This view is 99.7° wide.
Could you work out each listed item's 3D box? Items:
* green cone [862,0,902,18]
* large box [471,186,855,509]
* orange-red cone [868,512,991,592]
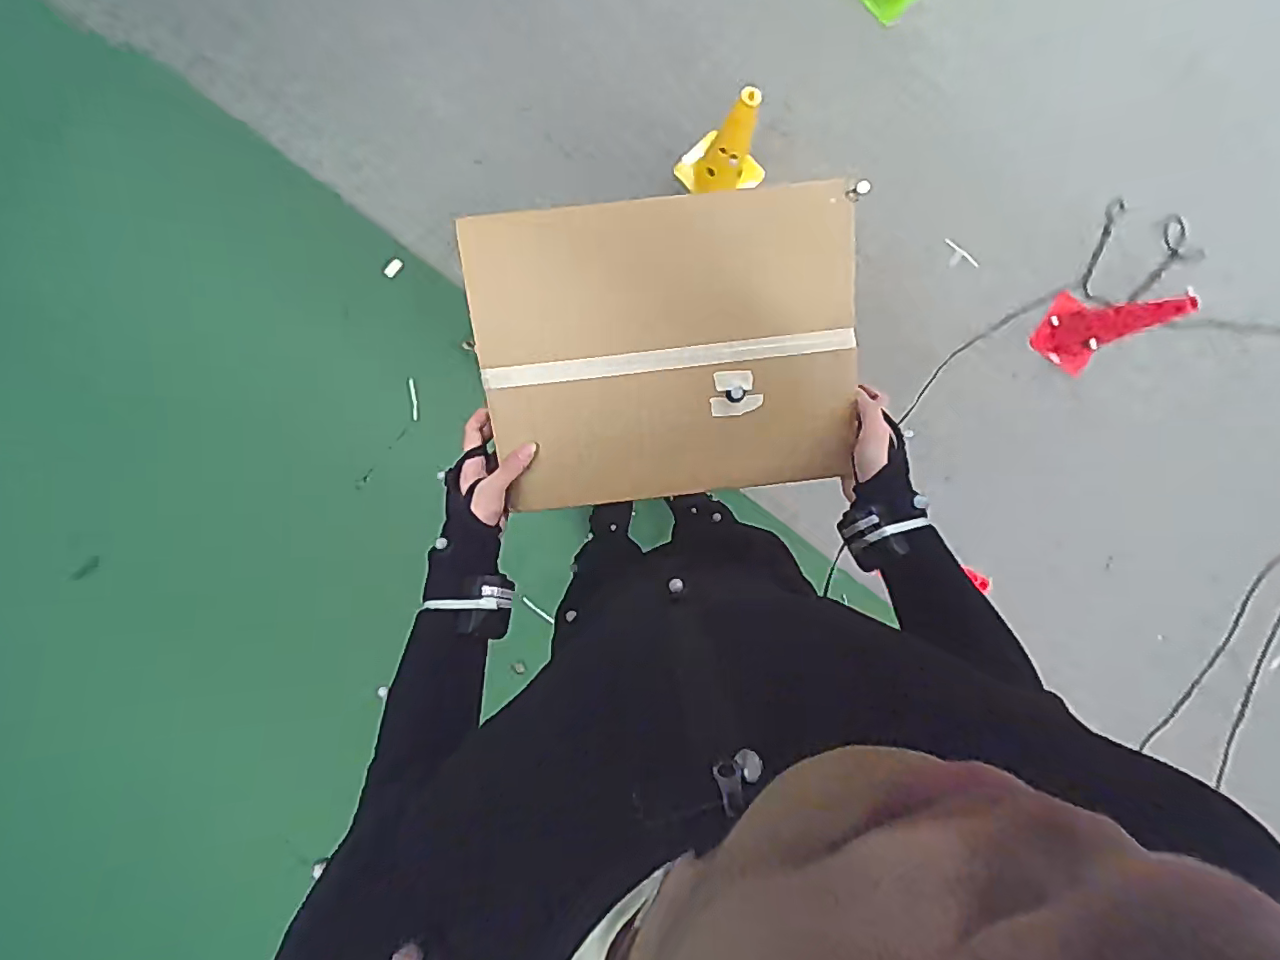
[{"bbox_3d":[0.714,-1.472,1.405,0.200,0.368,0.202,41,92,-5],"label":"green cone"},{"bbox_3d":[0.029,-0.173,0.734,0.408,0.320,0.320,-6,106,-2],"label":"large box"},{"bbox_3d":[0.849,0.241,1.525,0.199,0.360,0.198,43,91,-7],"label":"orange-red cone"}]
